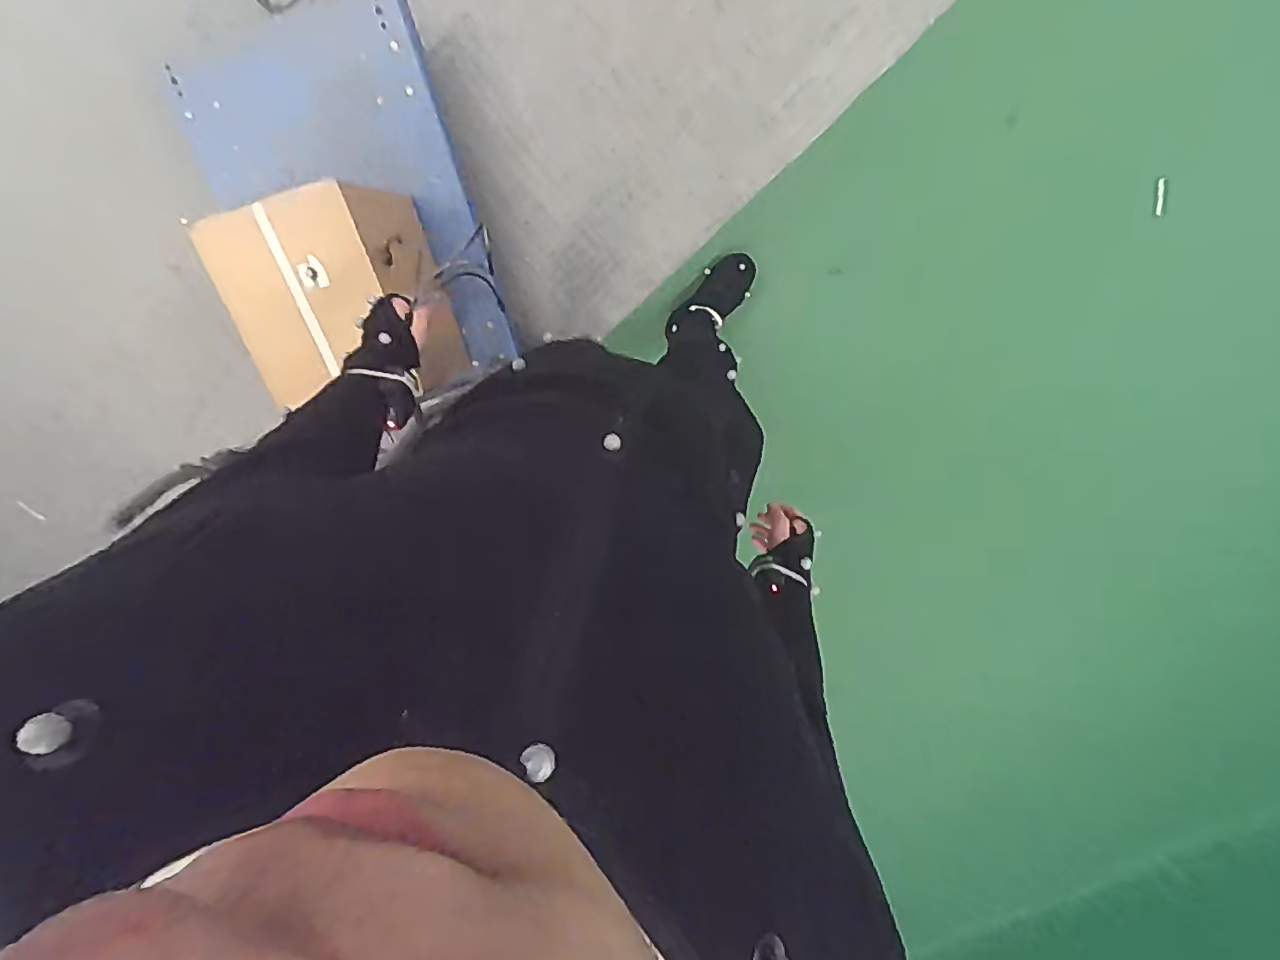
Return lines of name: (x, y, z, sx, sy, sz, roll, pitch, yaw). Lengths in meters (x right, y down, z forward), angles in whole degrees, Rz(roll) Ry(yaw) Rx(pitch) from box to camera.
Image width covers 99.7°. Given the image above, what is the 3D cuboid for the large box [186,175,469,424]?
large box: (-0.627, -0.381, 1.173, 0.320, 0.320, 0.408, -13, 111, 7)
